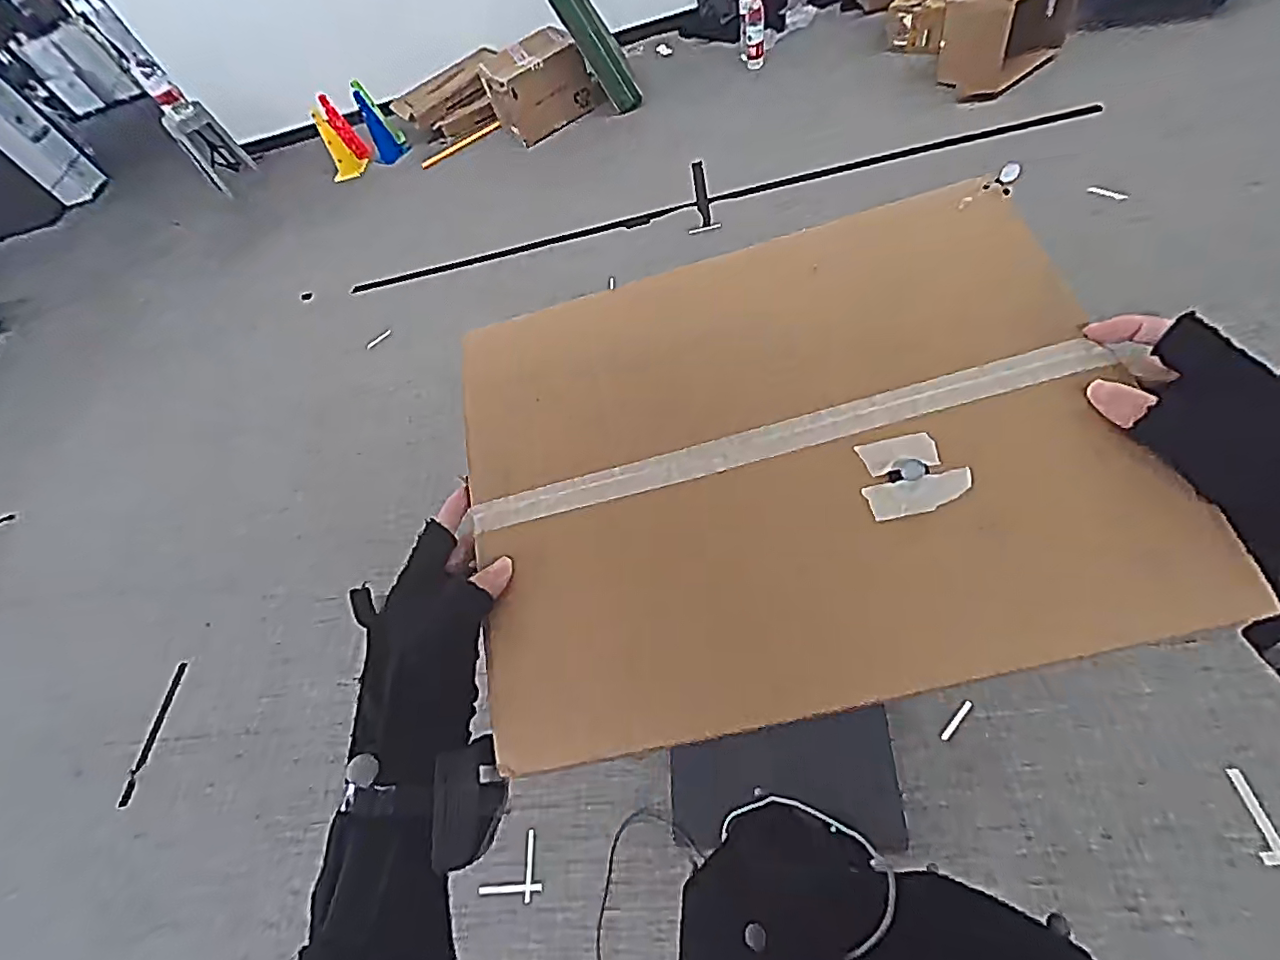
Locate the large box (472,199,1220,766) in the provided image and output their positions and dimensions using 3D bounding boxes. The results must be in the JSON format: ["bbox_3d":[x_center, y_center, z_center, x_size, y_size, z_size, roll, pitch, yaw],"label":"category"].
[{"bbox_3d":[0.112,0.033,0.494,0.408,0.320,0.320,-15,68,5],"label":"large box"}]

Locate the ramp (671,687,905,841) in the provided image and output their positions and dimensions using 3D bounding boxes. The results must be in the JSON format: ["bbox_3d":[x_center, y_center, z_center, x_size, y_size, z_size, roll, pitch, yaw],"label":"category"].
[{"bbox_3d":[0.301,0.313,1.345,0.509,0.206,0.991,-8,58,10],"label":"ramp"}]
